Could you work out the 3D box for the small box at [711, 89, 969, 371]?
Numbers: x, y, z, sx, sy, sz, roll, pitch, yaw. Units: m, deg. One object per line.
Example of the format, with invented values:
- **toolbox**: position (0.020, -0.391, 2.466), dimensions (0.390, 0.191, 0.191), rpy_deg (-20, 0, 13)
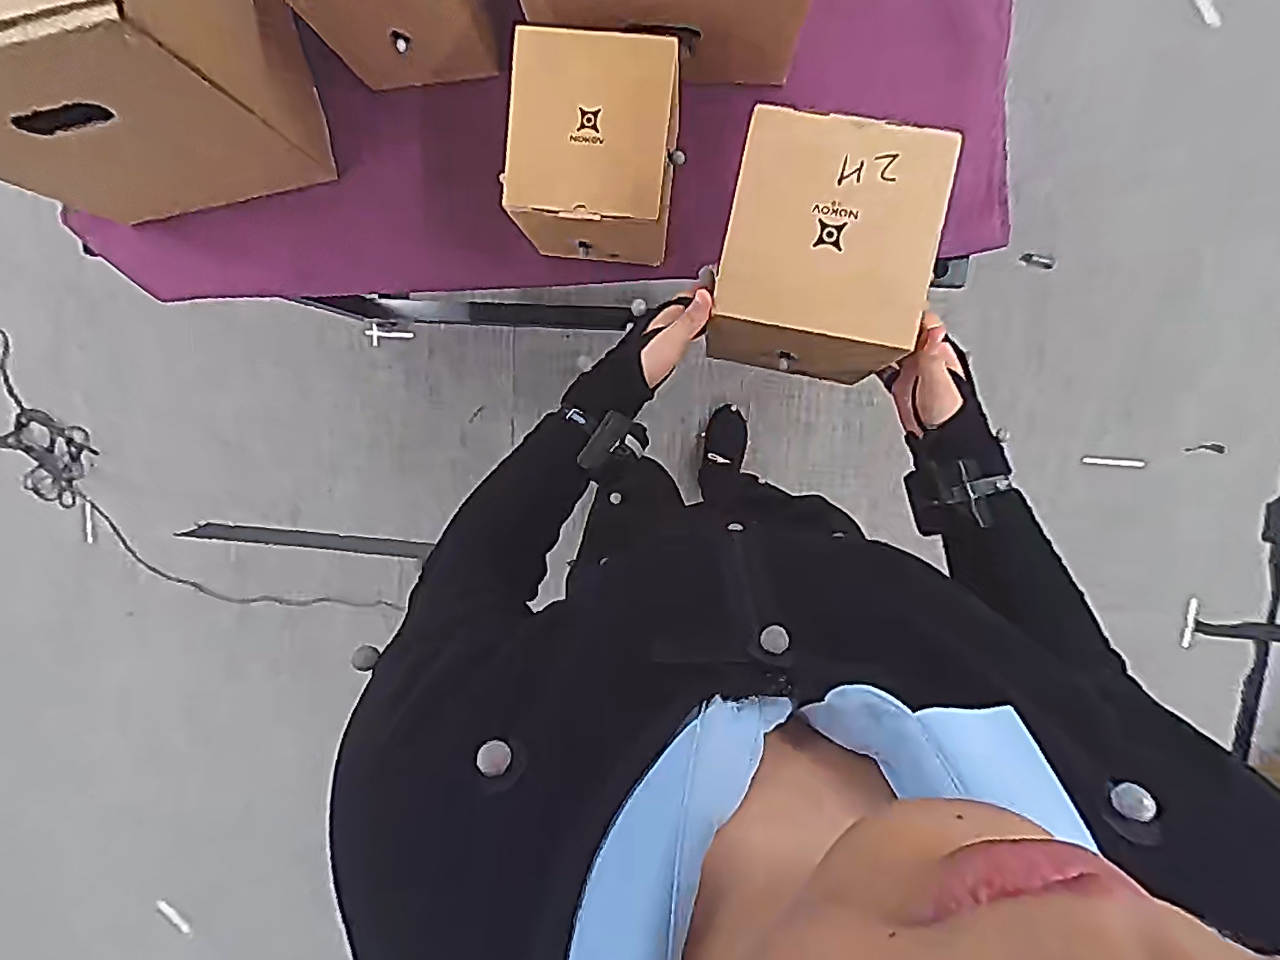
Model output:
- **small box**: position (0.165, -0.211, 0.504), dimensions (0.168, 0.176, 0.179), rpy_deg (12, 91, 6)
